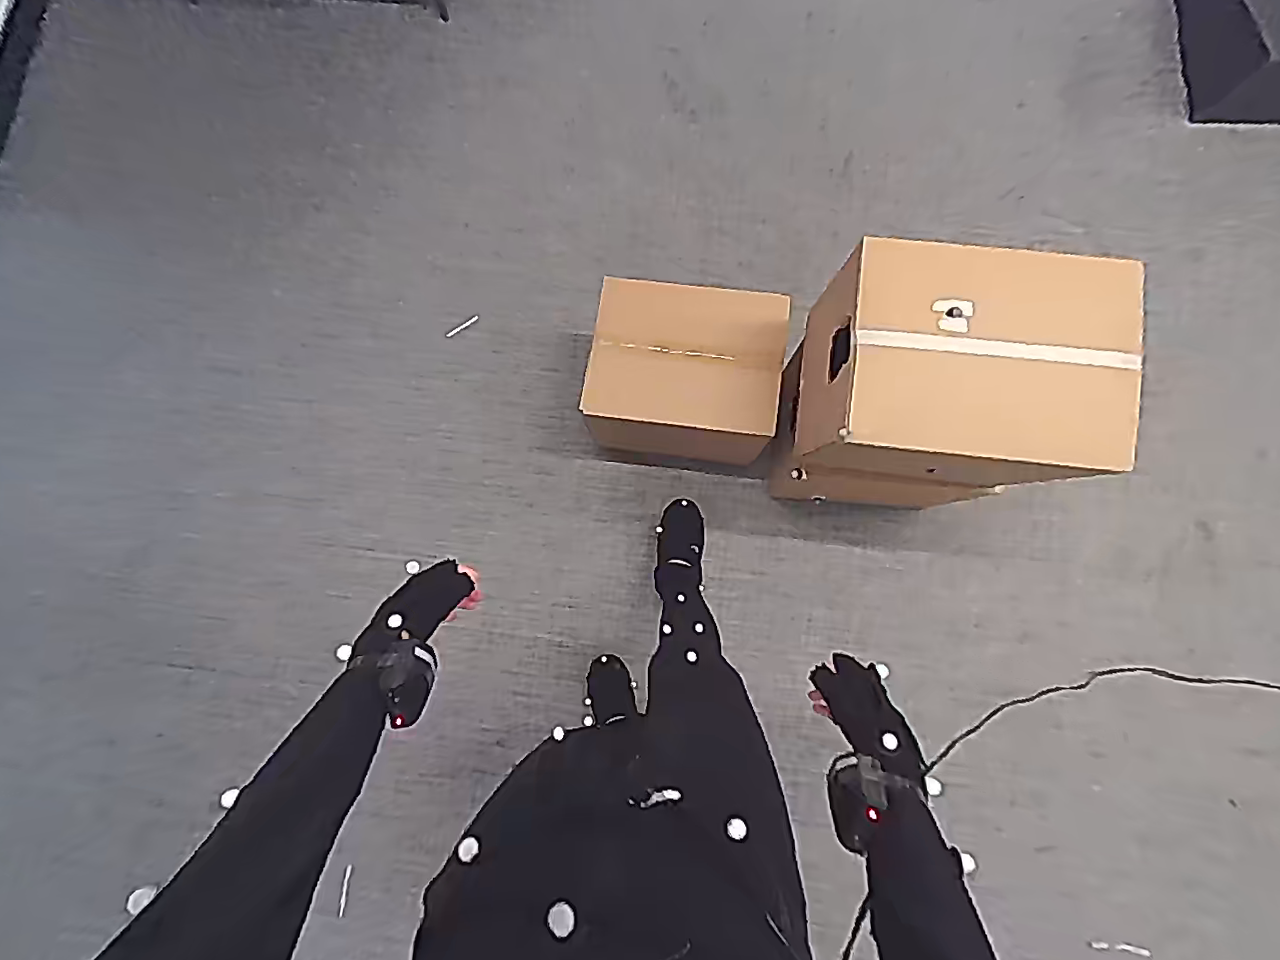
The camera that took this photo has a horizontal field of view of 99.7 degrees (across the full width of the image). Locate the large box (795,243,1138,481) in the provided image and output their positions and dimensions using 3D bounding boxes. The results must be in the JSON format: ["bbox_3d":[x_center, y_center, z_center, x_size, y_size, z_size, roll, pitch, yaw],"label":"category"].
[{"bbox_3d":[0.510,-0.173,0.924,0.408,0.320,0.320,6,86,4],"label":"large box"}]
